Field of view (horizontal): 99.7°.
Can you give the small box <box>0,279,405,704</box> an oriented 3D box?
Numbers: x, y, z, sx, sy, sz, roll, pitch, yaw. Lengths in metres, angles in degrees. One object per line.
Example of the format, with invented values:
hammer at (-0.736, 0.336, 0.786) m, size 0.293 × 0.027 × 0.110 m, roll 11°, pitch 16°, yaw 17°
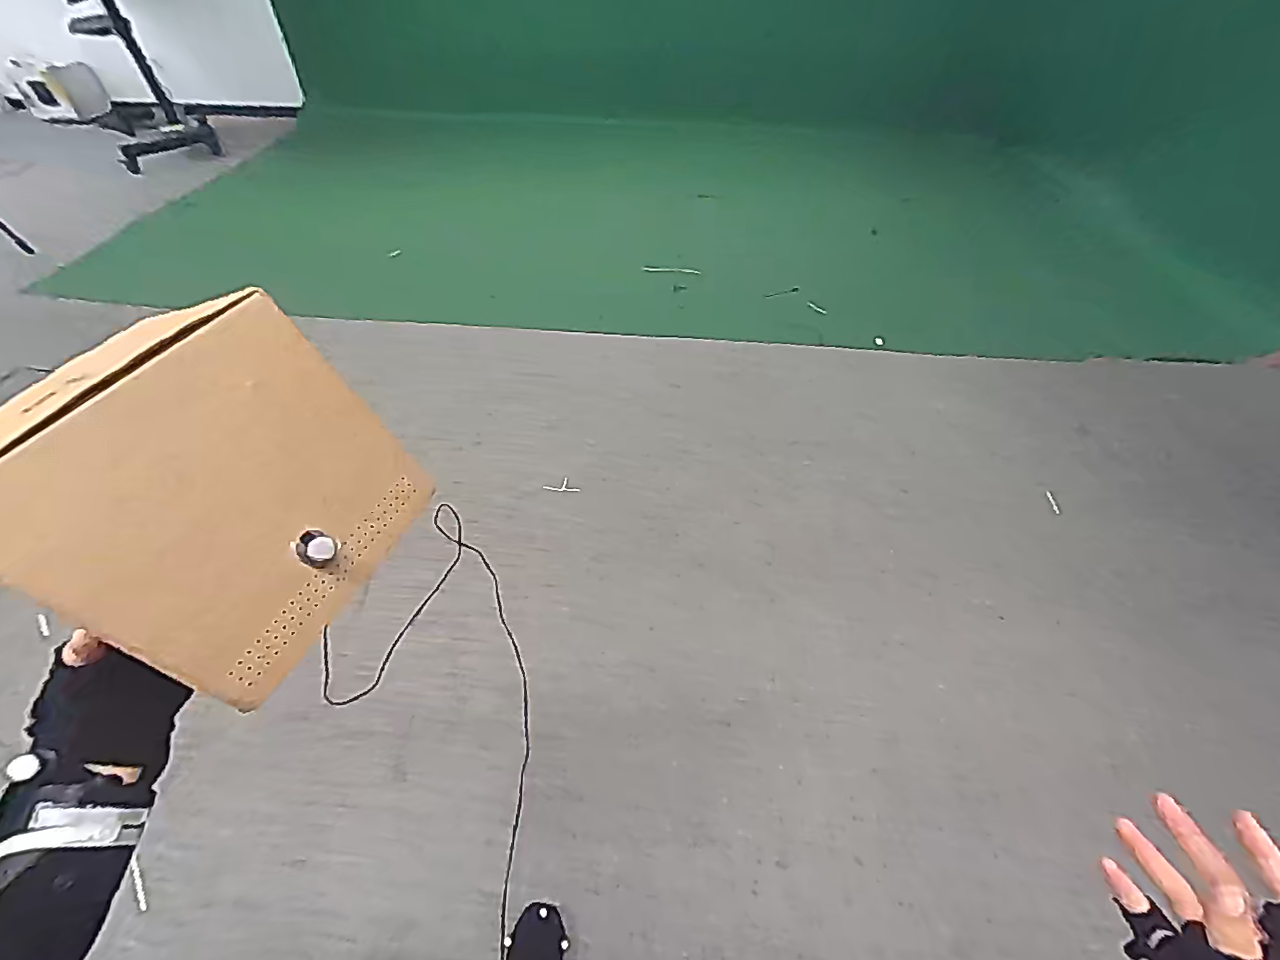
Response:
small box at (-0.281, 0.005, 0.336) m, size 0.168 × 0.176 × 0.179 m, roll 2°, pitch 47°, yaw 31°
